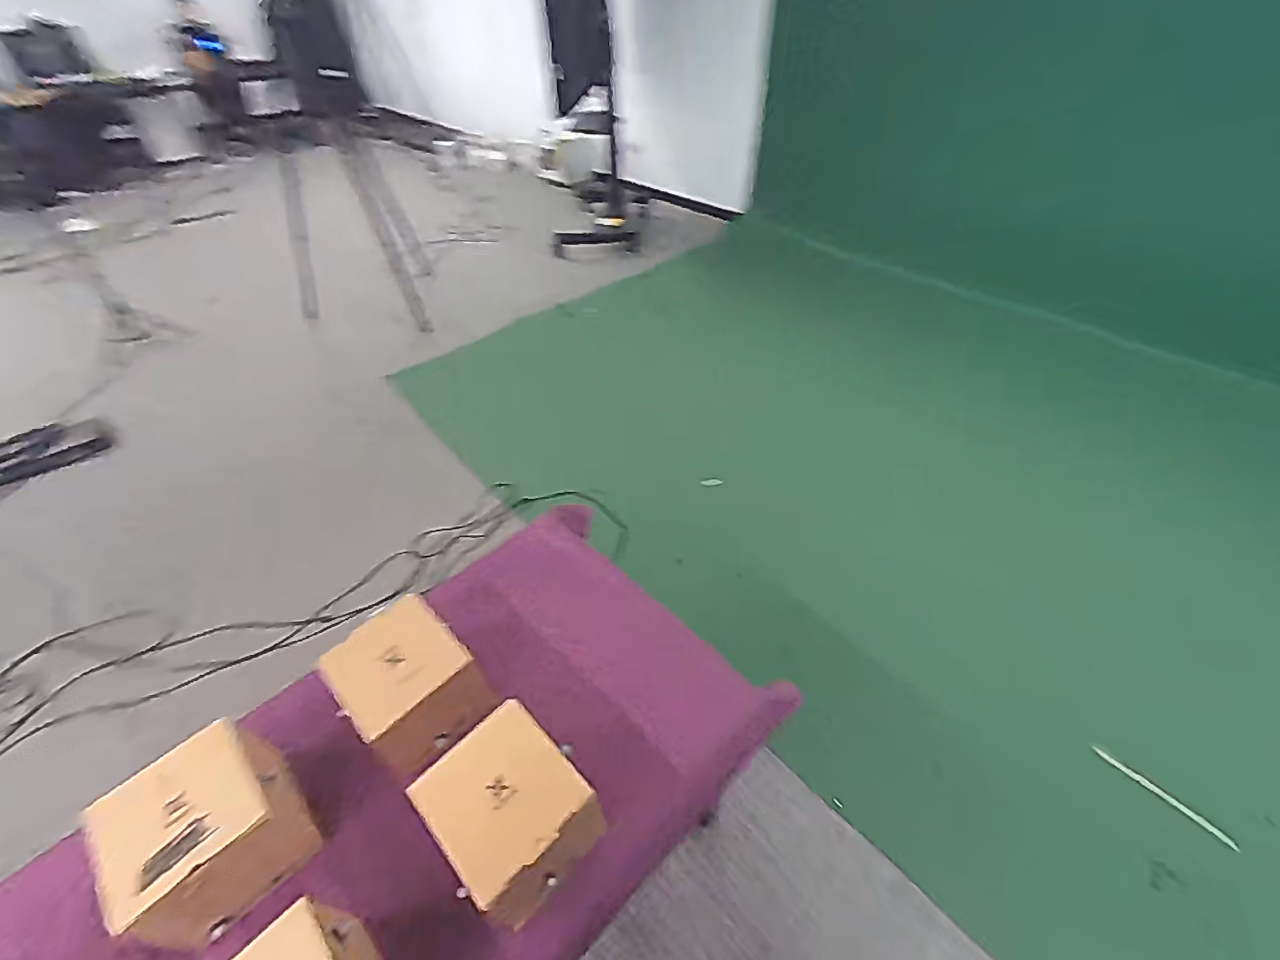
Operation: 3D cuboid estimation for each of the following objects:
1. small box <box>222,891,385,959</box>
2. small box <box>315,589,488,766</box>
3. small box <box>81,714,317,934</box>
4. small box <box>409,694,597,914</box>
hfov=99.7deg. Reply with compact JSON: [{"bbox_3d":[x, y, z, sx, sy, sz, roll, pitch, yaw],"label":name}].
[{"bbox_3d":[-0.371,0.598,0.577,0.179,0.176,0.168,33,55,31],"label":"small box"},{"bbox_3d":[-0.370,0.316,0.862,0.179,0.176,0.168,34,56,29],"label":"small box"},{"bbox_3d":[-0.573,0.460,0.722,0.179,0.176,0.168,34,55,30],"label":"small box"},{"bbox_3d":[-0.176,0.439,0.733,0.179,0.176,0.168,34,55,30],"label":"small box"}]
